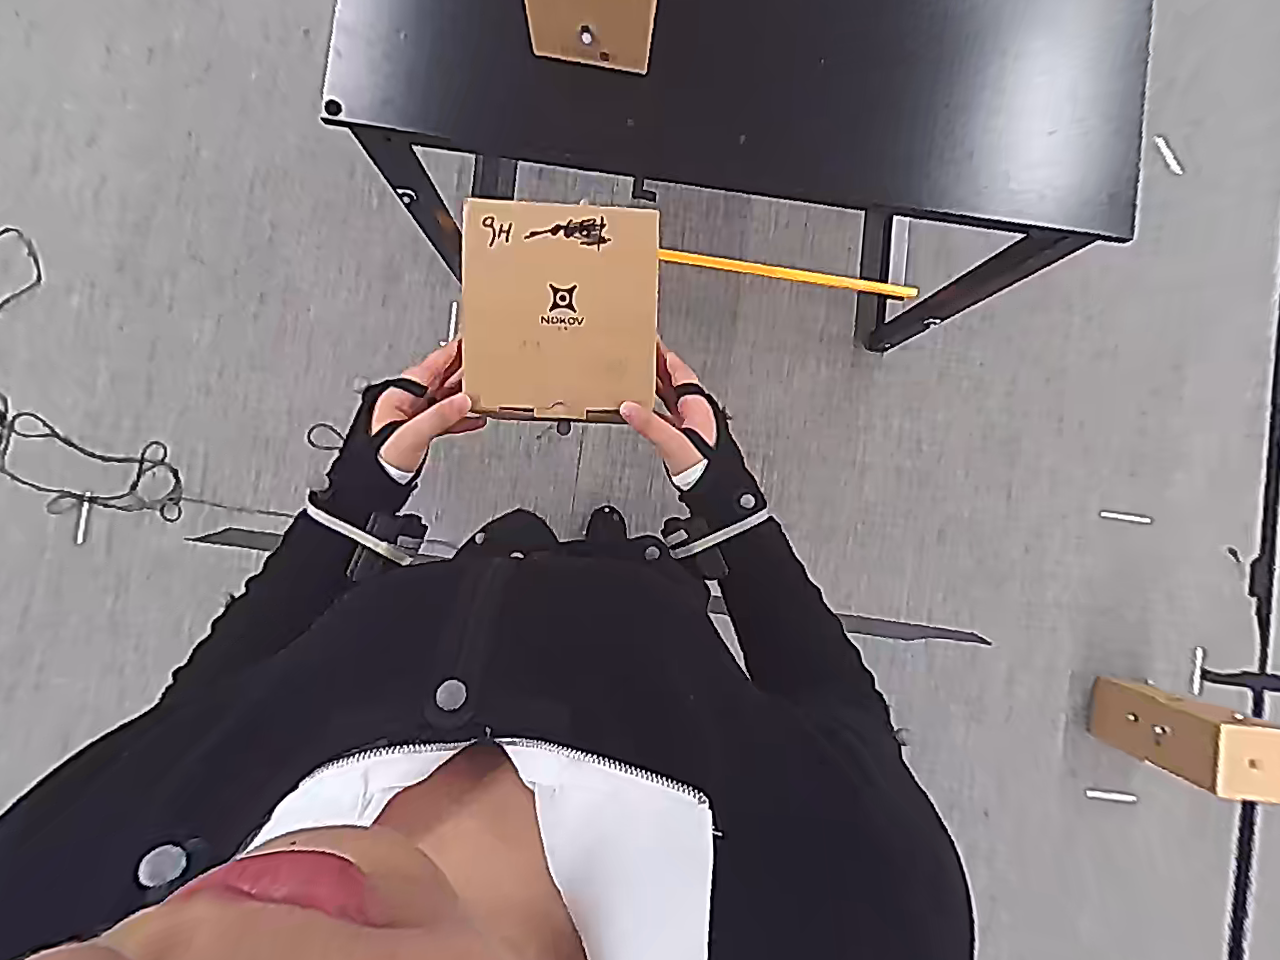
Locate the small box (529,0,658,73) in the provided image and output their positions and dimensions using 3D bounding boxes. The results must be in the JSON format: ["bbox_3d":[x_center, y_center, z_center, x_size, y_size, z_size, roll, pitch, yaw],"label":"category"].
[{"bbox_3d":[-0.055,-0.689,0.703,0.168,0.176,0.179,8,88,-3],"label":"small box"}]

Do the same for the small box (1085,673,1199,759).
[{"bbox_3d":[1.380,0.651,1.487,0.168,0.176,0.179,10,89,-2],"label":"small box"}]

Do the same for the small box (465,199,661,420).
[{"bbox_3d":[-0.071,-0.151,0.538,0.168,0.176,0.179,1,94,-5],"label":"small box"}]

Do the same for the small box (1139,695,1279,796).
[{"bbox_3d":[1.391,0.643,1.326,0.179,0.176,0.168,6,87,-2],"label":"small box"}]
